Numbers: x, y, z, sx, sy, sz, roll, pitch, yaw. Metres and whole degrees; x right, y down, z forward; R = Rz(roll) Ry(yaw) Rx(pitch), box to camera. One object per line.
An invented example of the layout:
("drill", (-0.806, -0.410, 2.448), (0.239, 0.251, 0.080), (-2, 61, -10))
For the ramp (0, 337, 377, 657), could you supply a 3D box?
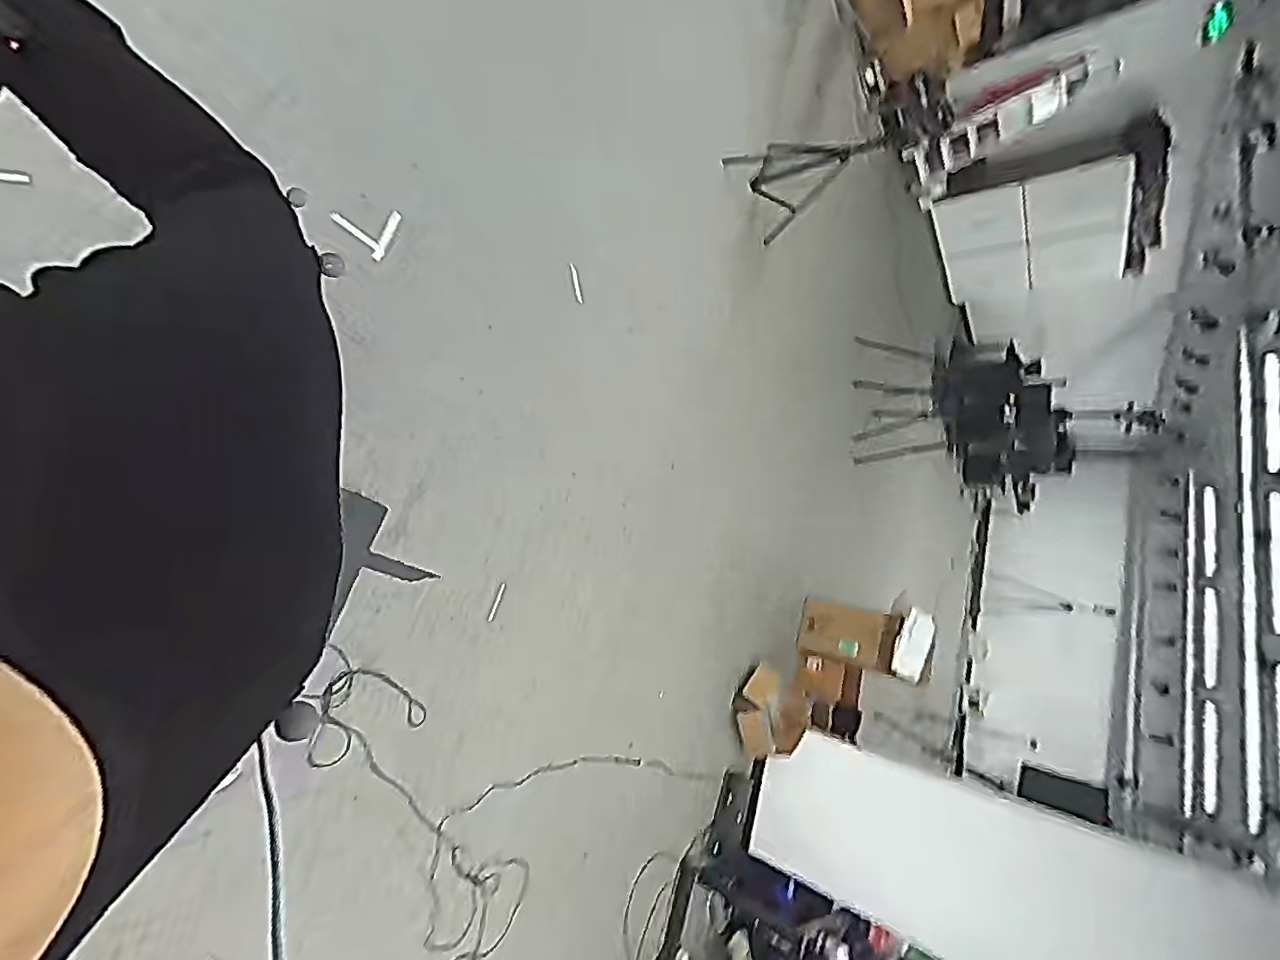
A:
("ramp", (-1.090, 0.092, 1.200), (0.991, 0.206, 0.509), (33, 67, -47))
